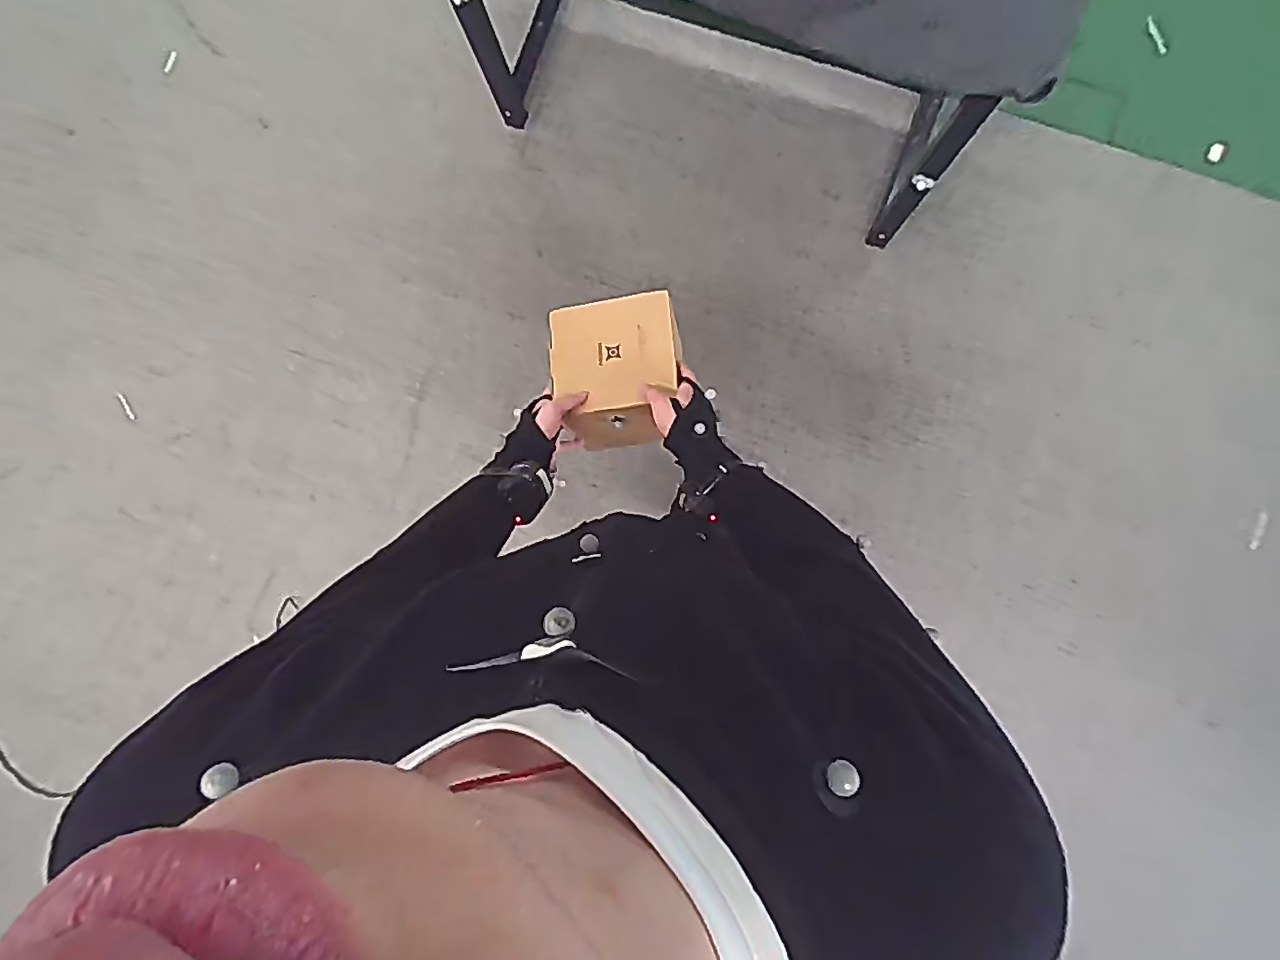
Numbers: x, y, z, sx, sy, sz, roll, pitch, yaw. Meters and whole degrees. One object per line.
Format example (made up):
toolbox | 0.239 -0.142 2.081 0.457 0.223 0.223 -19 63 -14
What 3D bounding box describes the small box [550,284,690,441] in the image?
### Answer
small box | -0.024 -0.166 0.821 0.179 0.176 0.168 -8 77 7
